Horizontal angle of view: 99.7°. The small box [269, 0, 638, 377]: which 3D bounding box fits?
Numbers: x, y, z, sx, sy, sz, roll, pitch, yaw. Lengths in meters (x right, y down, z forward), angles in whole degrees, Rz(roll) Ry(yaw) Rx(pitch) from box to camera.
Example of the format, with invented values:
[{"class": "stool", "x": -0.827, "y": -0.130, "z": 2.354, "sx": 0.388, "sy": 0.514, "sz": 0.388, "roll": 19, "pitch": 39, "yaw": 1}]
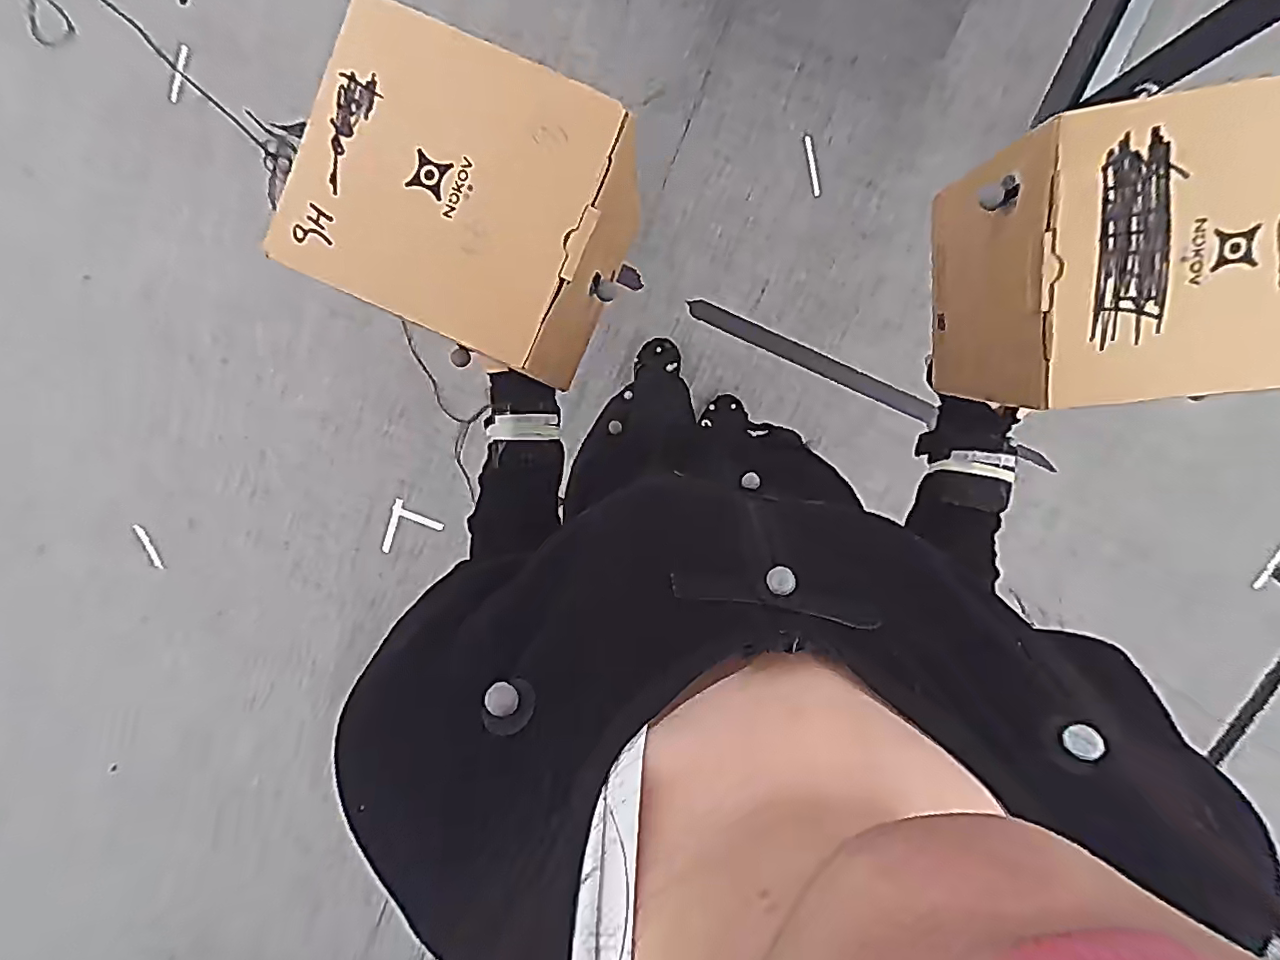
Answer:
[{"class": "small box", "x": -0.111, "y": -0.185, "z": 0.398, "sx": 0.179, "sy": 0.176, "sz": 0.168, "roll": 24, "pitch": 95, "yaw": -2}]
